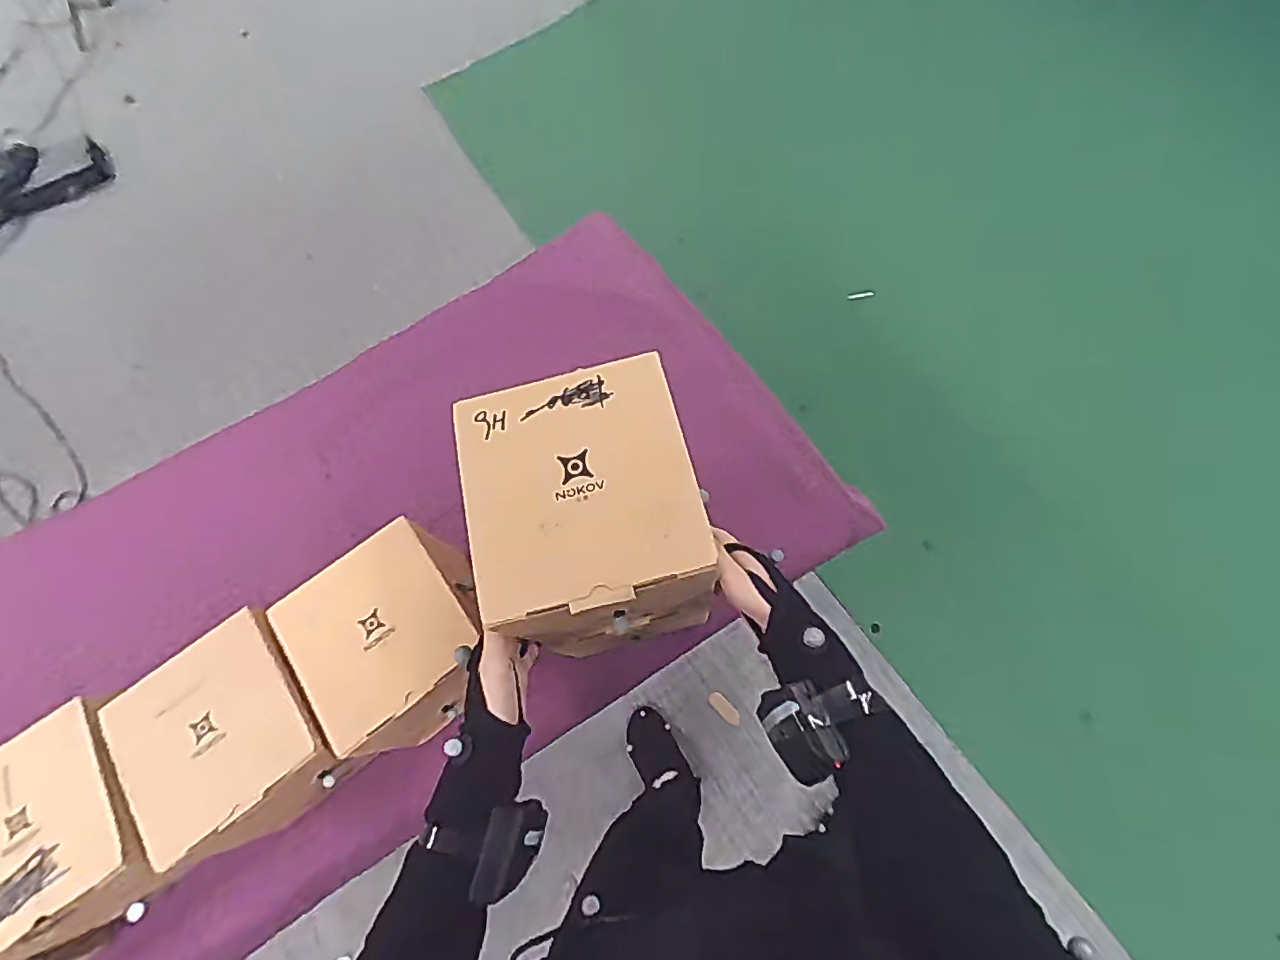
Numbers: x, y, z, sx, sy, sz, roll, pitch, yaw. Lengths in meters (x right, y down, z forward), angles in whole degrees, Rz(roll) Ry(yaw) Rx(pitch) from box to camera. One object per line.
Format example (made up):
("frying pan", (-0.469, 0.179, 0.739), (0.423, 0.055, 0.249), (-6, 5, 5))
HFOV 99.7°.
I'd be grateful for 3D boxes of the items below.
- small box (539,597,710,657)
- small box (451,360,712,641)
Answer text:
("small box", (-0.026, 0.092, 0.609), (0.168, 0.176, 0.179), (-15, 70, 1))
("small box", (-0.039, 0.032, 0.456), (0.168, 0.176, 0.179), (-14, 70, 1))
